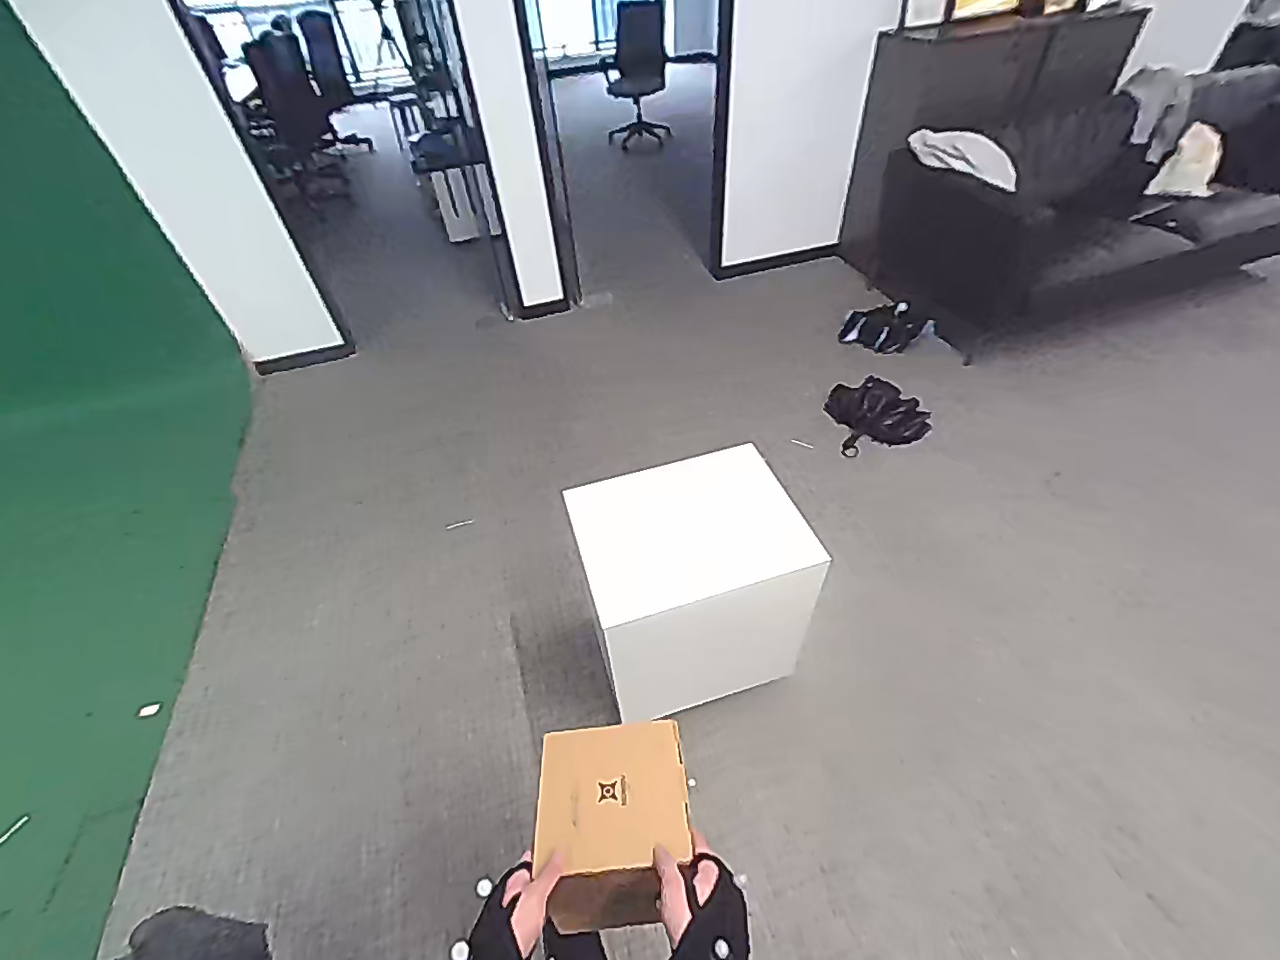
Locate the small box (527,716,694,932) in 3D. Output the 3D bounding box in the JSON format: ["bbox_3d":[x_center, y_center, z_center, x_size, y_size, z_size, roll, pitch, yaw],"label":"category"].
[{"bbox_3d":[-0.029,0.421,0.666,0.179,0.176,0.168,-7,33,-1],"label":"small box"}]
